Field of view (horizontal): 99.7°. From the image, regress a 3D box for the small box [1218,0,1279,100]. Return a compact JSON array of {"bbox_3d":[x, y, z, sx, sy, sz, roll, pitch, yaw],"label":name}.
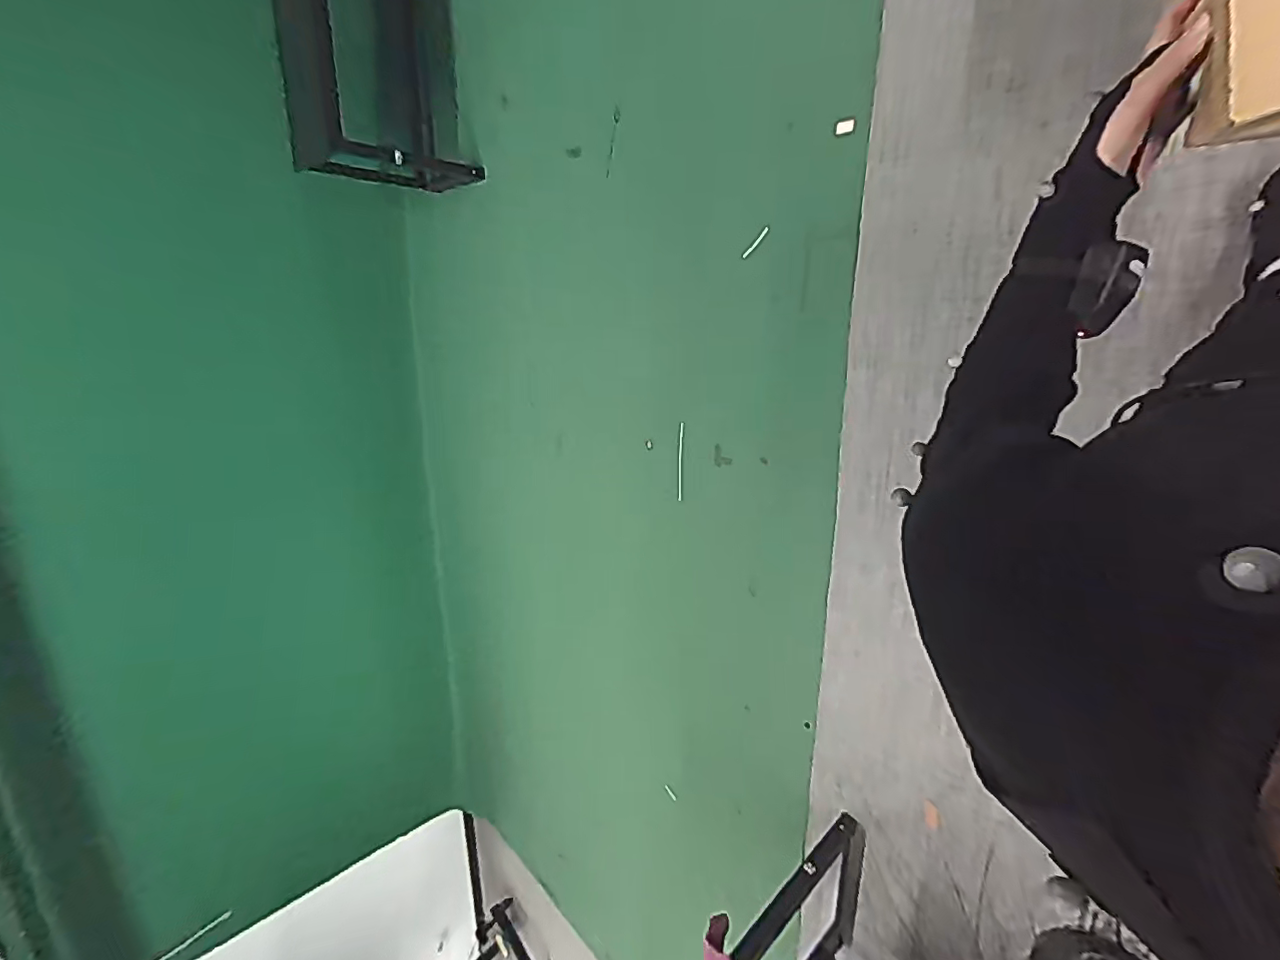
[{"bbox_3d":[0.378,-0.304,0.237,0.168,0.176,0.179,-1,112,46],"label":"small box"}]
